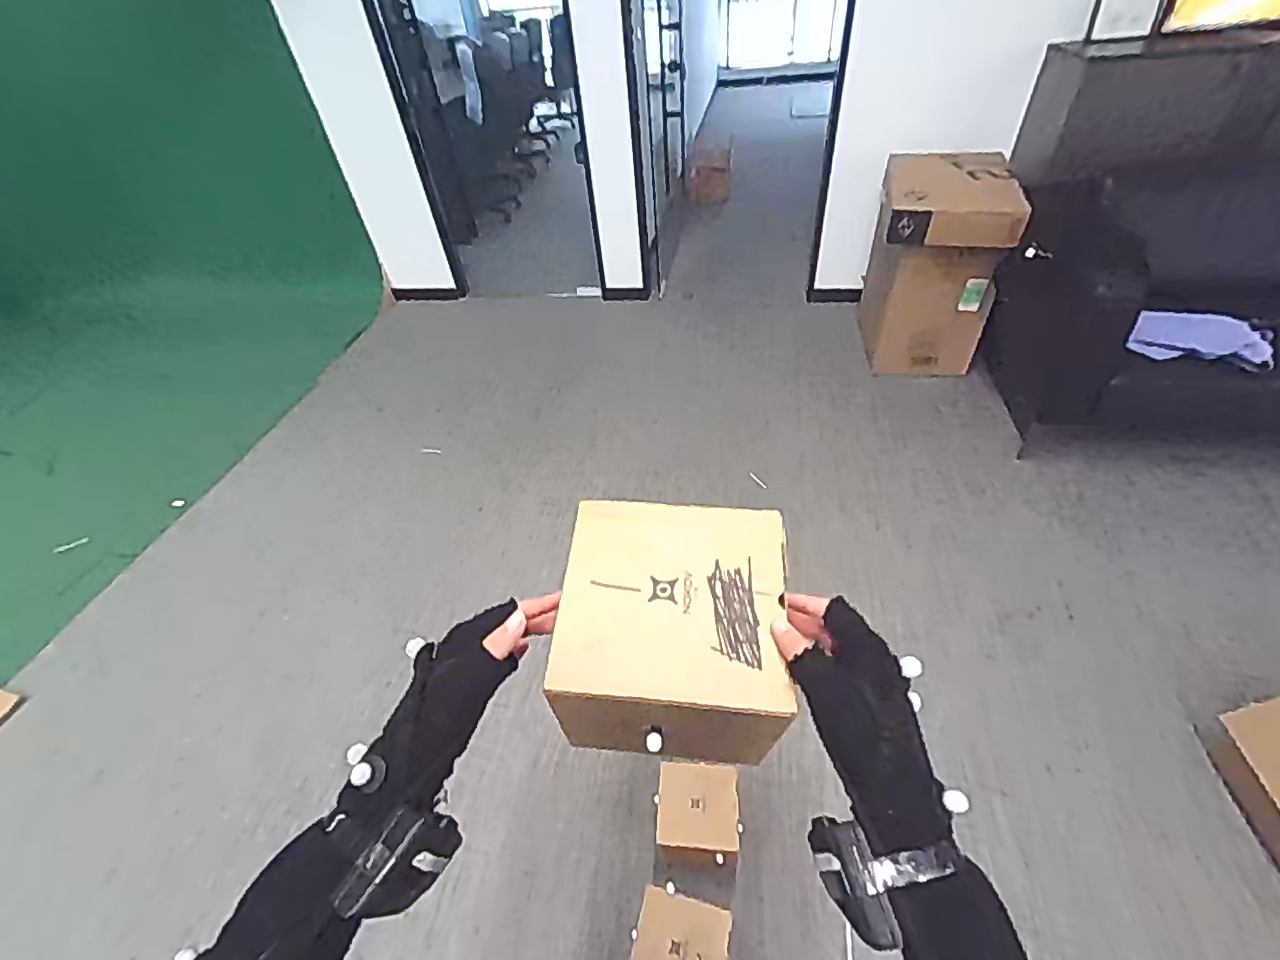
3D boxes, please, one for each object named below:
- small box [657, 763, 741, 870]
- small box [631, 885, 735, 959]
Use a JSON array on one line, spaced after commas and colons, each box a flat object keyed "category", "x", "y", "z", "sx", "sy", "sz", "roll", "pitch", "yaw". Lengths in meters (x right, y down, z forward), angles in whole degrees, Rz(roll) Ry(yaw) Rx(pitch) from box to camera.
[{"category": "small box", "x": 0.136, "y": 0.764, "z": 1.226, "sx": 0.179, "sy": 0.176, "sz": 0.168, "roll": 1, "pitch": 44, "yaw": 7}, {"category": "small box", "x": 0.083, "y": 0.931, "z": 1.054, "sx": 0.179, "sy": 0.176, "sz": 0.168, "roll": 8, "pitch": 46, "yaw": 15}]
